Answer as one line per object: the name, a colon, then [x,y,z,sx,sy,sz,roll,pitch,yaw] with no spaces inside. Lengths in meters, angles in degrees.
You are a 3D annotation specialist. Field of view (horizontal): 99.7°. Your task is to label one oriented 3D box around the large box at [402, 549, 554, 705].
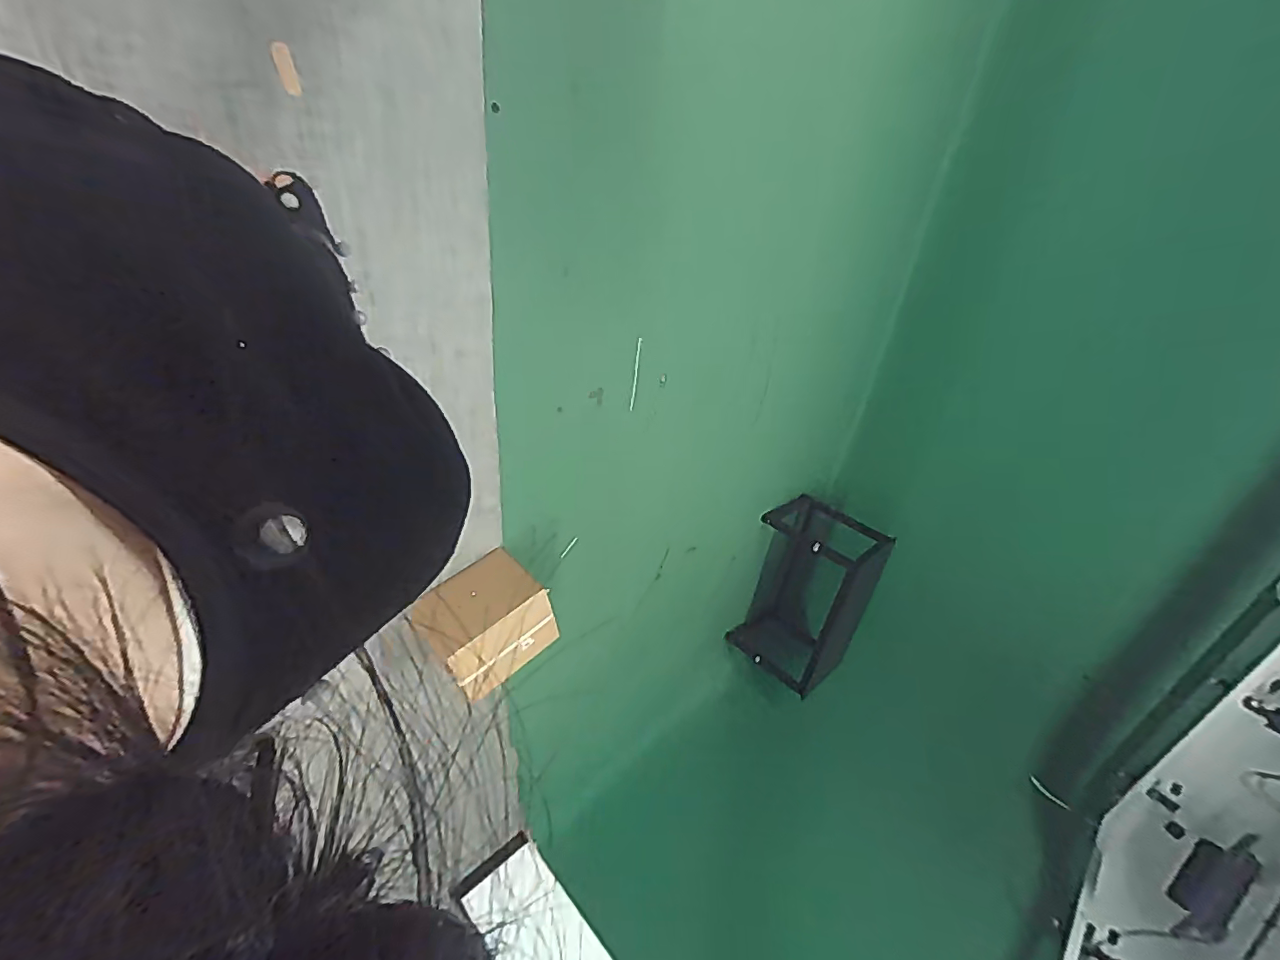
large box: [-0.599,0.541,2.039,0.408,0.320,0.320,-36,140,-31]
